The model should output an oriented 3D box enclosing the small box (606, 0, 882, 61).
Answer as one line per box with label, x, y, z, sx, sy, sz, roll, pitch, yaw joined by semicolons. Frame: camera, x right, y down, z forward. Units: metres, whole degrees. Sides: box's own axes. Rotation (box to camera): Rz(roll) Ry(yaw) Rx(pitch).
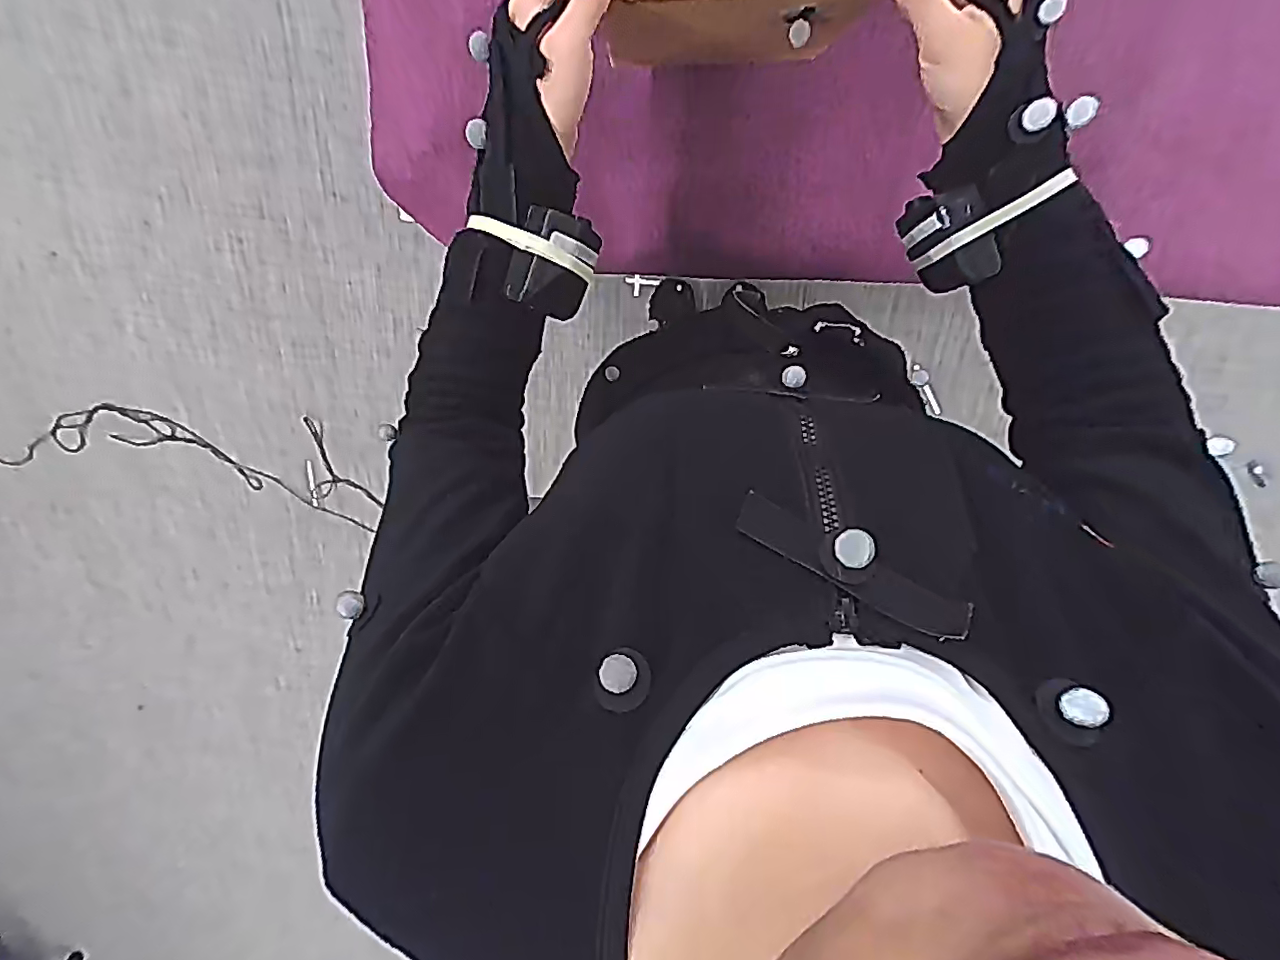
small box;0.063;-0.394;0.351;0.179;0.176;0.168;-2;116;1
